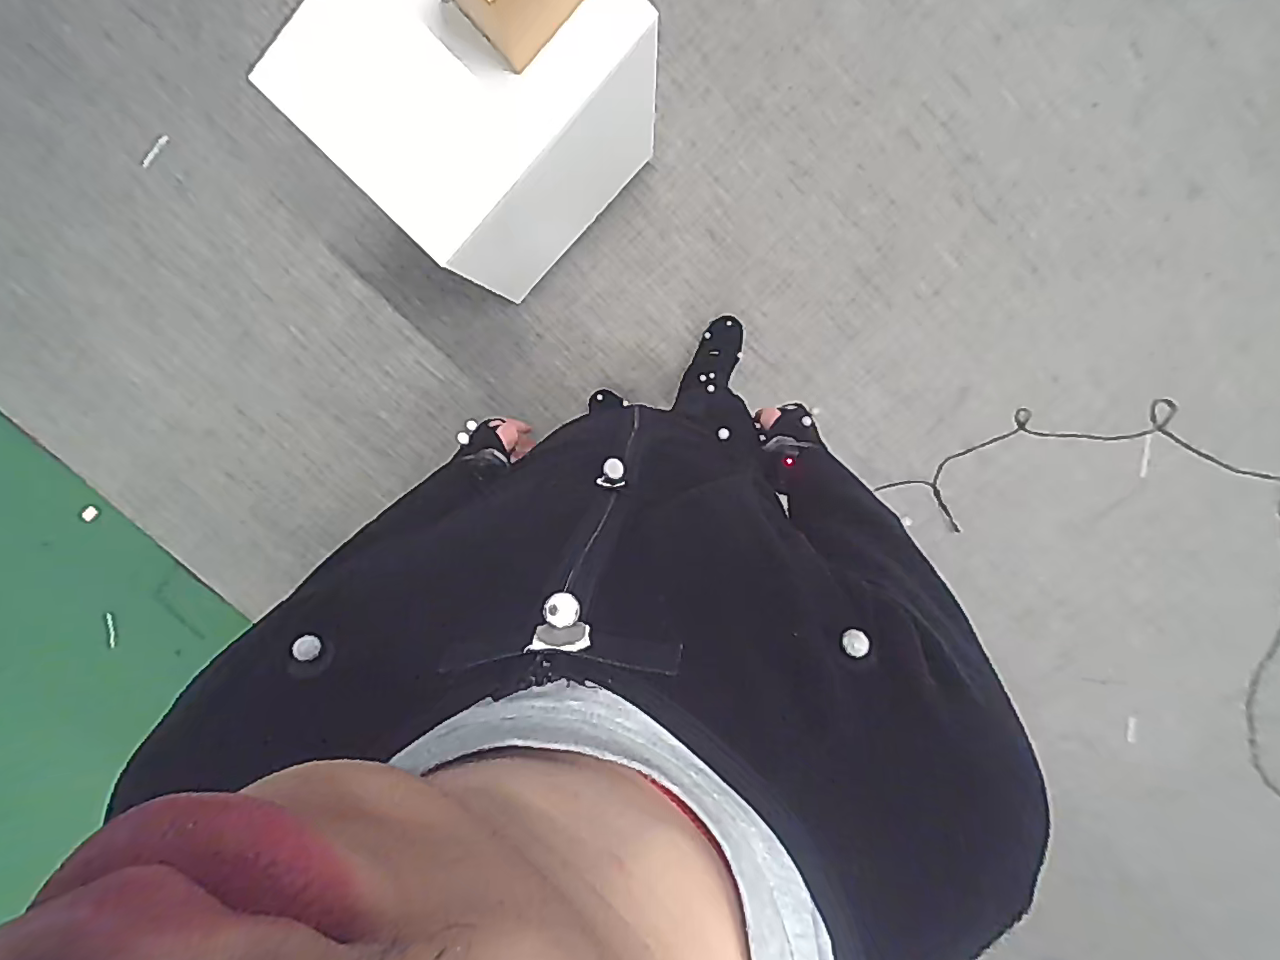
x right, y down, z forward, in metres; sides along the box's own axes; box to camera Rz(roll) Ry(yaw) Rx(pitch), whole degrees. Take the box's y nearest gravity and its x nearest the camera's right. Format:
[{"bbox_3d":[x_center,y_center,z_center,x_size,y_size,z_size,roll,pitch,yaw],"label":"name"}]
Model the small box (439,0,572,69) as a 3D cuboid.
[{"bbox_3d":[-0.193,-0.703,0.708,0.168,0.176,0.179,44,96,-9],"label":"small box"}]
